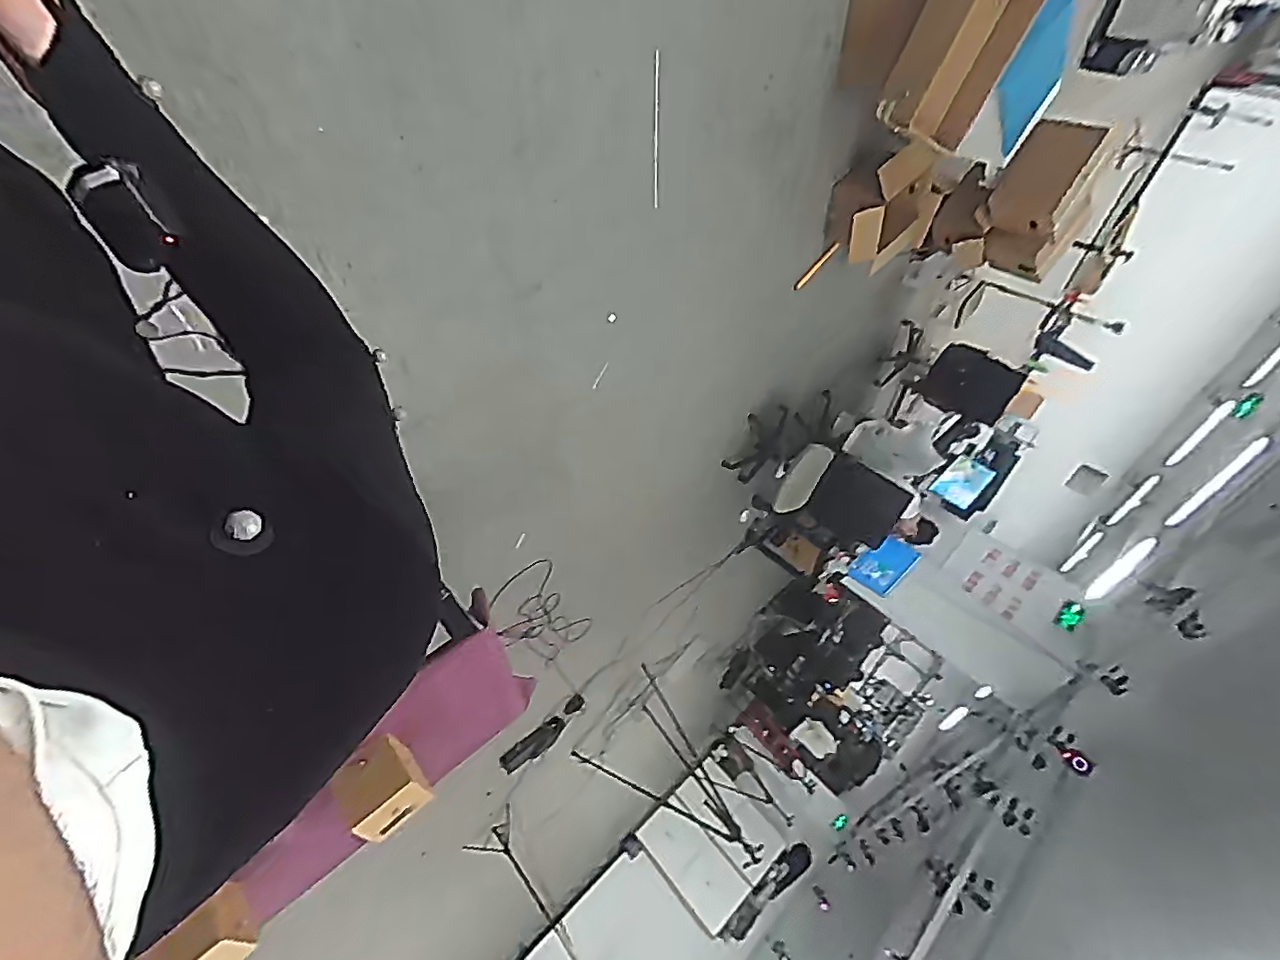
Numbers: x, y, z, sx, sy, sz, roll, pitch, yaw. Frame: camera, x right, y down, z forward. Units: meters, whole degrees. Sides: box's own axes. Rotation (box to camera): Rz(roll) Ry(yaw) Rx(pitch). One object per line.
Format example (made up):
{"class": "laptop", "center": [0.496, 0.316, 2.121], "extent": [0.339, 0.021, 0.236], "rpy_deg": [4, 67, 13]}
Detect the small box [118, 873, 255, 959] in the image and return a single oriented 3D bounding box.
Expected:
{"class": "small box", "center": [-1.031, 1.044, 1.236], "extent": [0.168, 0.176, 0.179], "rpy_deg": [-34, 146, -30]}
